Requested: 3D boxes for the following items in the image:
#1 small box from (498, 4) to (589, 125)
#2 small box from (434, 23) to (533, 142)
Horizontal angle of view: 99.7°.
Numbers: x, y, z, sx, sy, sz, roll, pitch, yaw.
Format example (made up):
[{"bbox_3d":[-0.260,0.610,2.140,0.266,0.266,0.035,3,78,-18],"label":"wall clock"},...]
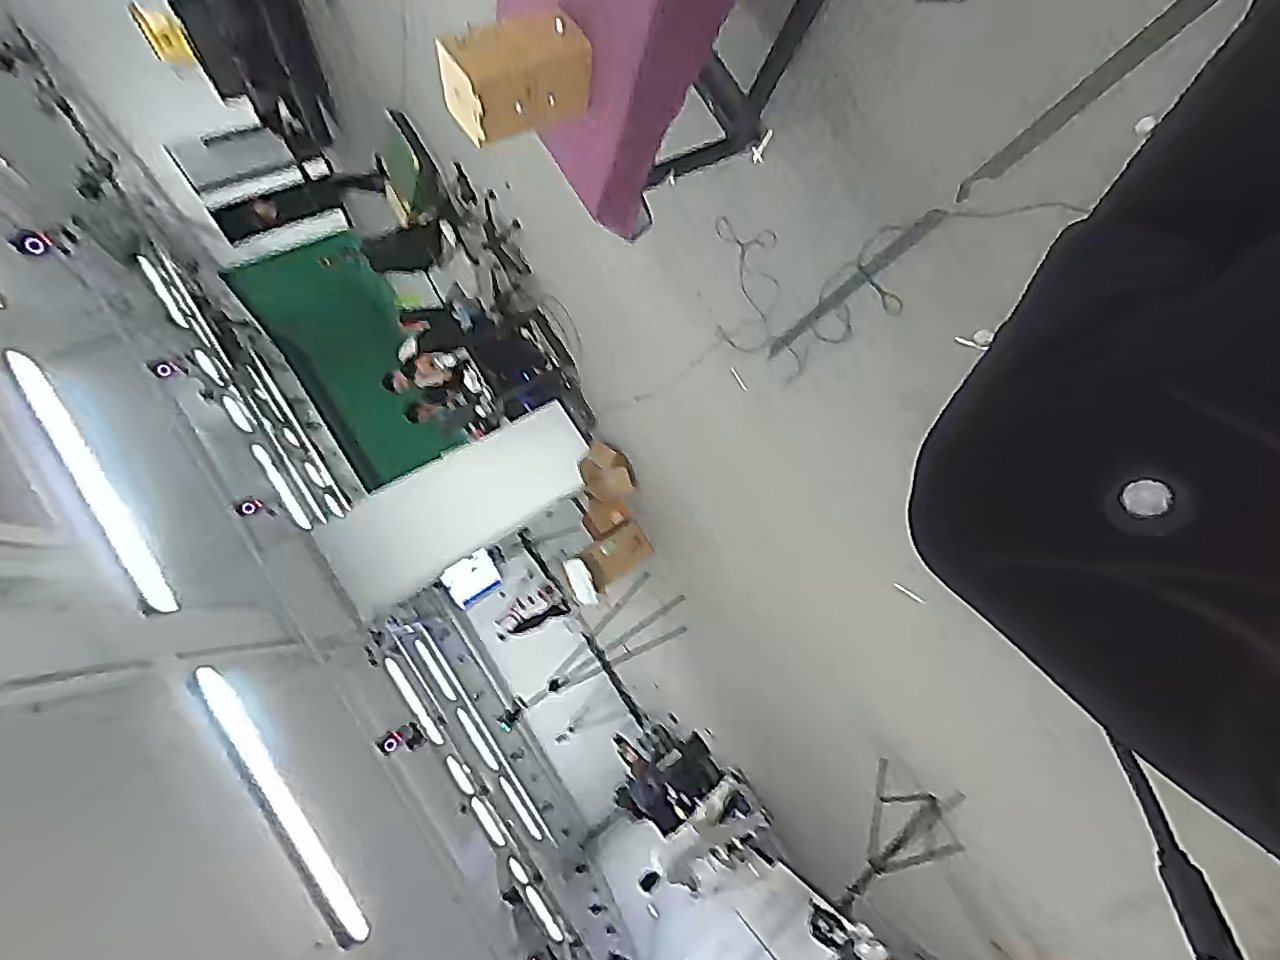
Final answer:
[{"bbox_3d":[-0.245,-1.070,1.391,0.168,0.176,0.179,53,159,11],"label":"small box"},{"bbox_3d":[-0.382,-0.990,1.343,0.179,0.176,0.168,53,160,13],"label":"small box"}]
